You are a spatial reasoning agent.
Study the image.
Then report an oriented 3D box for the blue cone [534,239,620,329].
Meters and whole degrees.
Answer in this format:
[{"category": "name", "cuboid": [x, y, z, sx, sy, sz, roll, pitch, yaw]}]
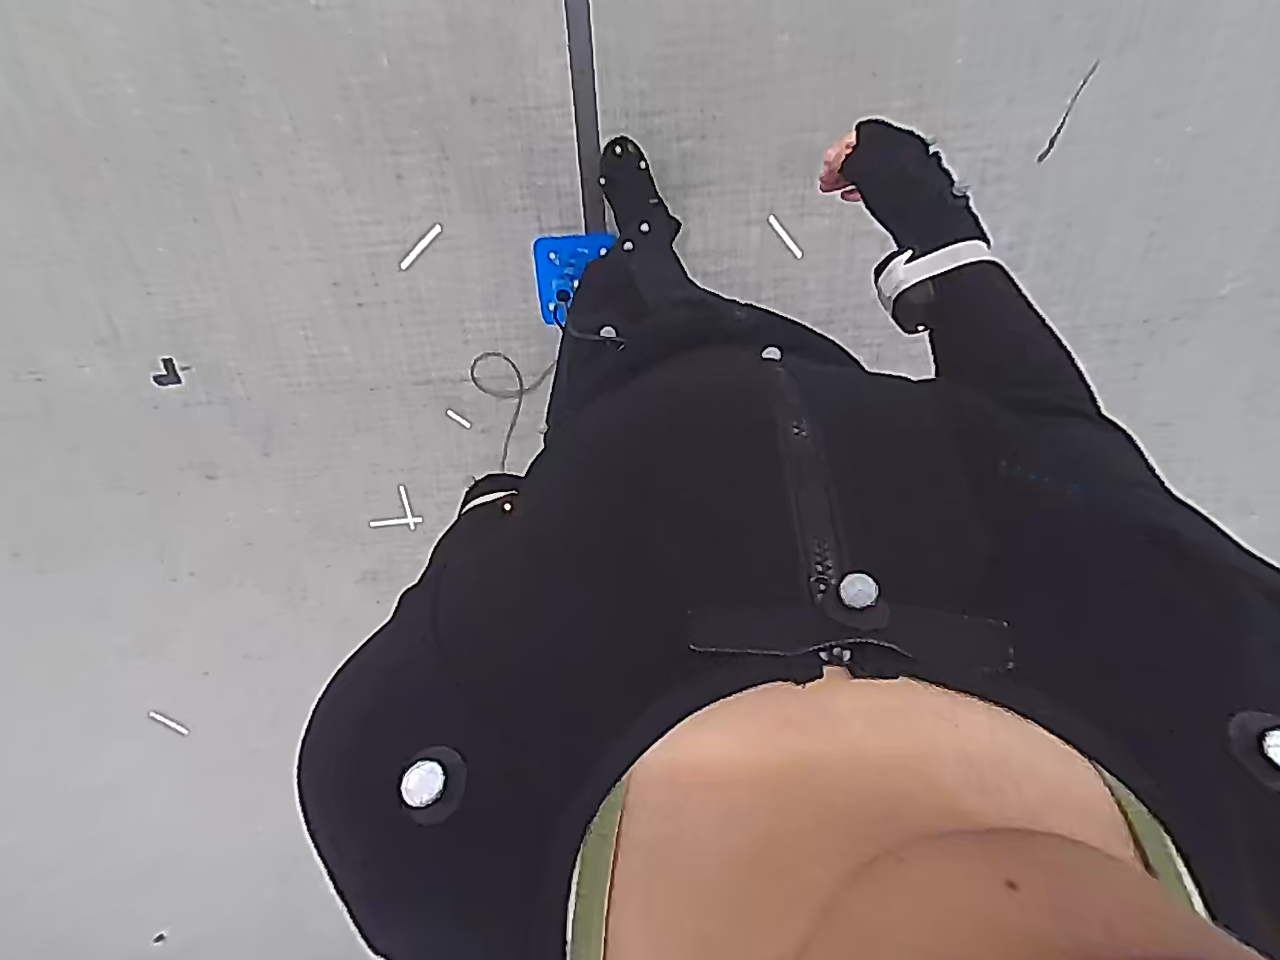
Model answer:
[{"category": "blue cone", "cuboid": [-0.145, -0.394, 1.135, 0.193, 0.380, 0.192, -5, 115, 2]}]
